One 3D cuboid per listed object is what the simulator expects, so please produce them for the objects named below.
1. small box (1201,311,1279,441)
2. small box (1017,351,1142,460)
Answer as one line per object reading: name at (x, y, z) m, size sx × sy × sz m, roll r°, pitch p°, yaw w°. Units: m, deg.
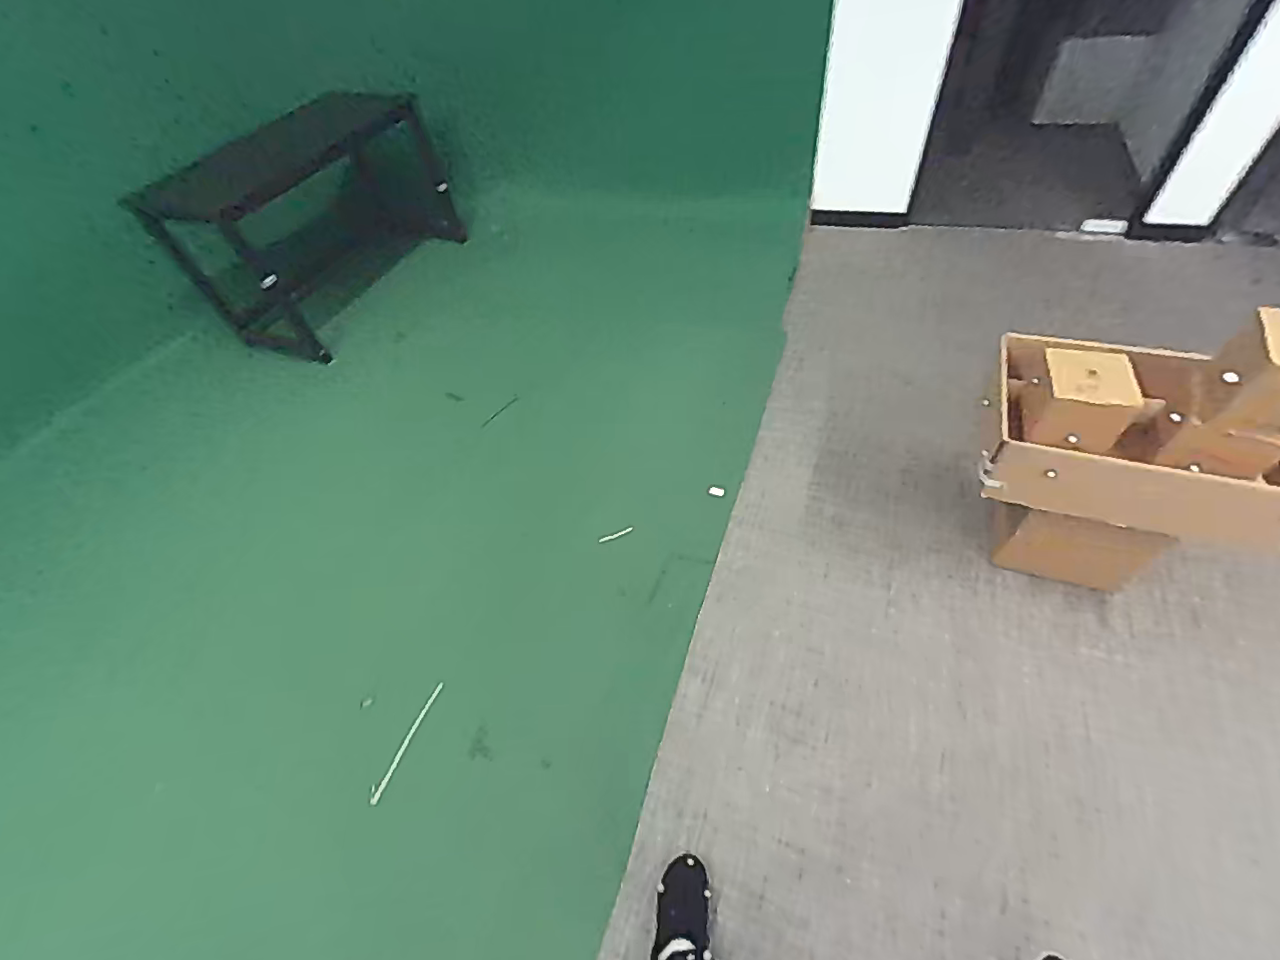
small box at (1.243, -0.193, 1.042) m, size 0.168 × 0.176 × 0.179 m, roll 18°, pitch 57°, yaw 21°
small box at (1.015, -0.176, 1.269) m, size 0.168 × 0.176 × 0.179 m, roll 10°, pitch 54°, yaw 16°
